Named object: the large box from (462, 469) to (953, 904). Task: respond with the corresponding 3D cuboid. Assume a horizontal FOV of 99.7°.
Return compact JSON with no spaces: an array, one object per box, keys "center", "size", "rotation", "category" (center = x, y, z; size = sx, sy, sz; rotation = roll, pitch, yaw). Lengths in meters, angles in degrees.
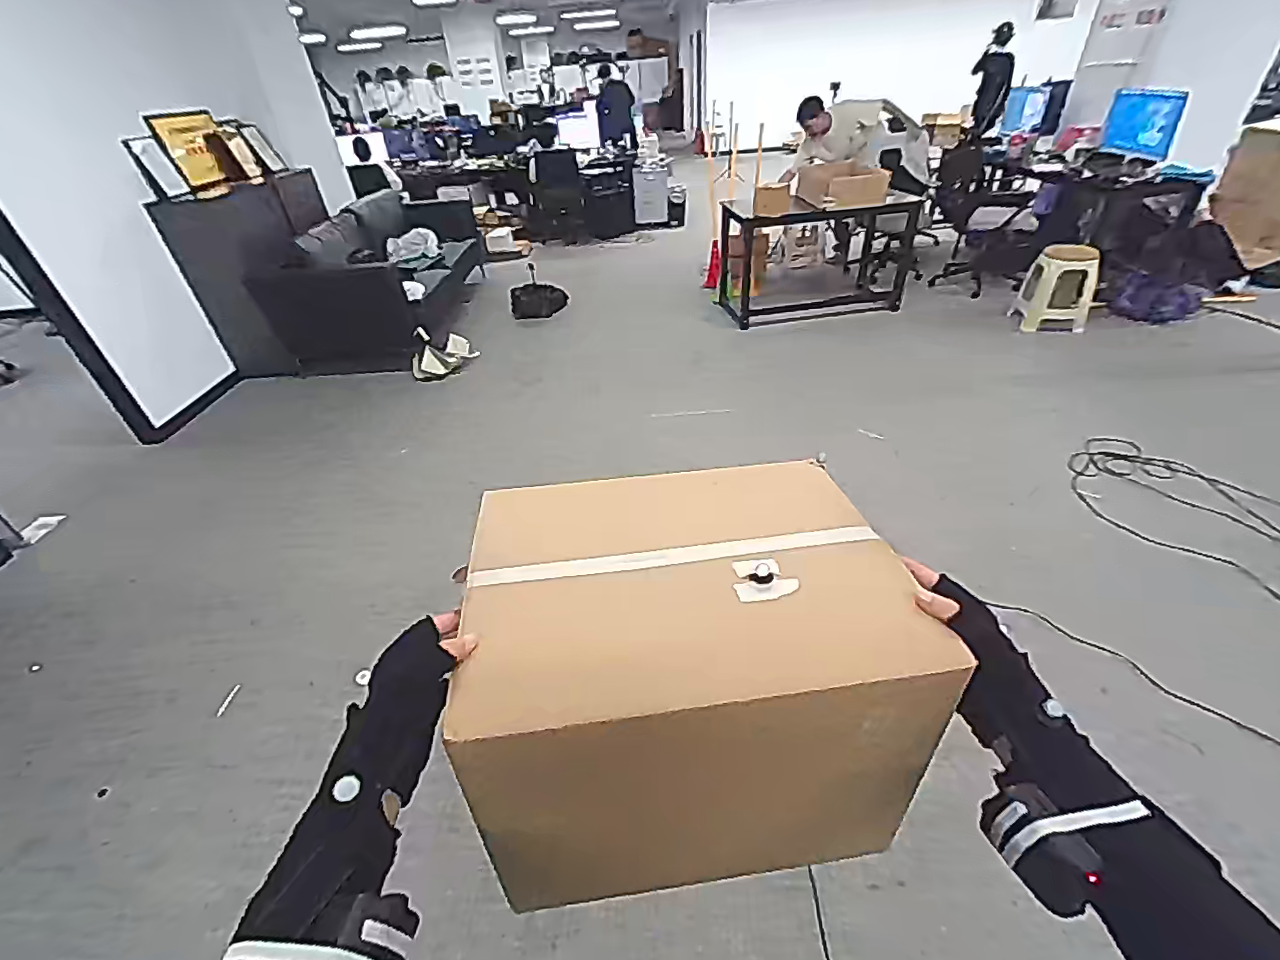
[{"center":[0.042,0.211,0.619],"size":[0.408,0.320,0.320],"rotation":[-5,34,-7],"category":"large box"}]
